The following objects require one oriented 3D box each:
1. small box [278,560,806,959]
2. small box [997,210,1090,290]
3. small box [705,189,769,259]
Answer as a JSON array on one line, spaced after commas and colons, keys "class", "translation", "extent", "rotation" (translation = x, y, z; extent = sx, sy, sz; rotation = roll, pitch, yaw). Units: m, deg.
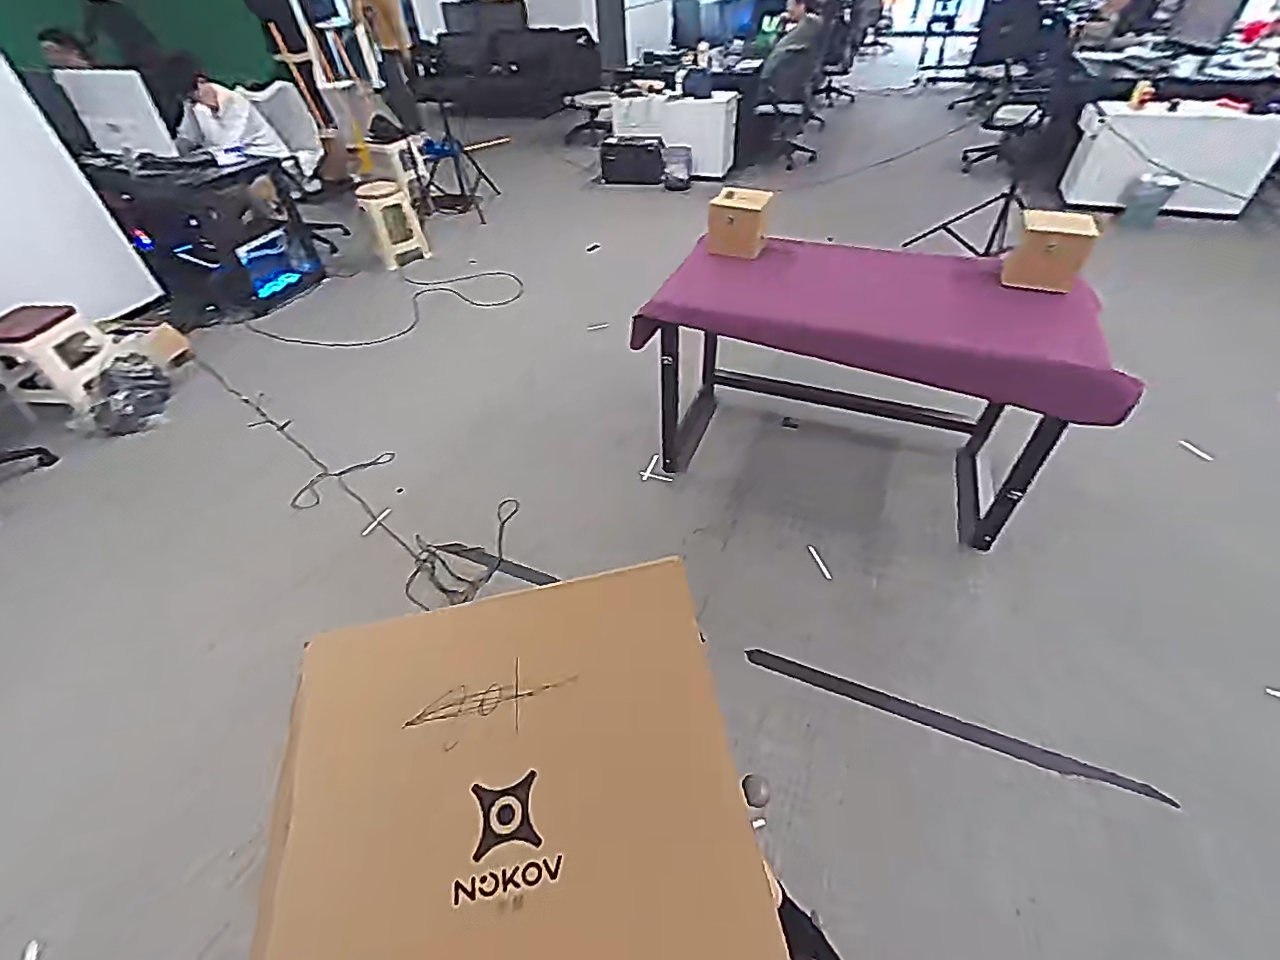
[{"class": "small box", "translation": [-0.034, 0.167, 0.254], "extent": [0.168, 0.176, 0.179], "rotation": [-12, 53, -5]}, {"class": "small box", "translation": [1.193, -0.686, 1.616], "extent": [0.179, 0.176, 0.168], "rotation": [15, 48, 17]}, {"class": "small box", "translation": [0.332, -0.889, 1.879], "extent": [0.179, 0.176, 0.168], "rotation": [17, 50, 18]}]
